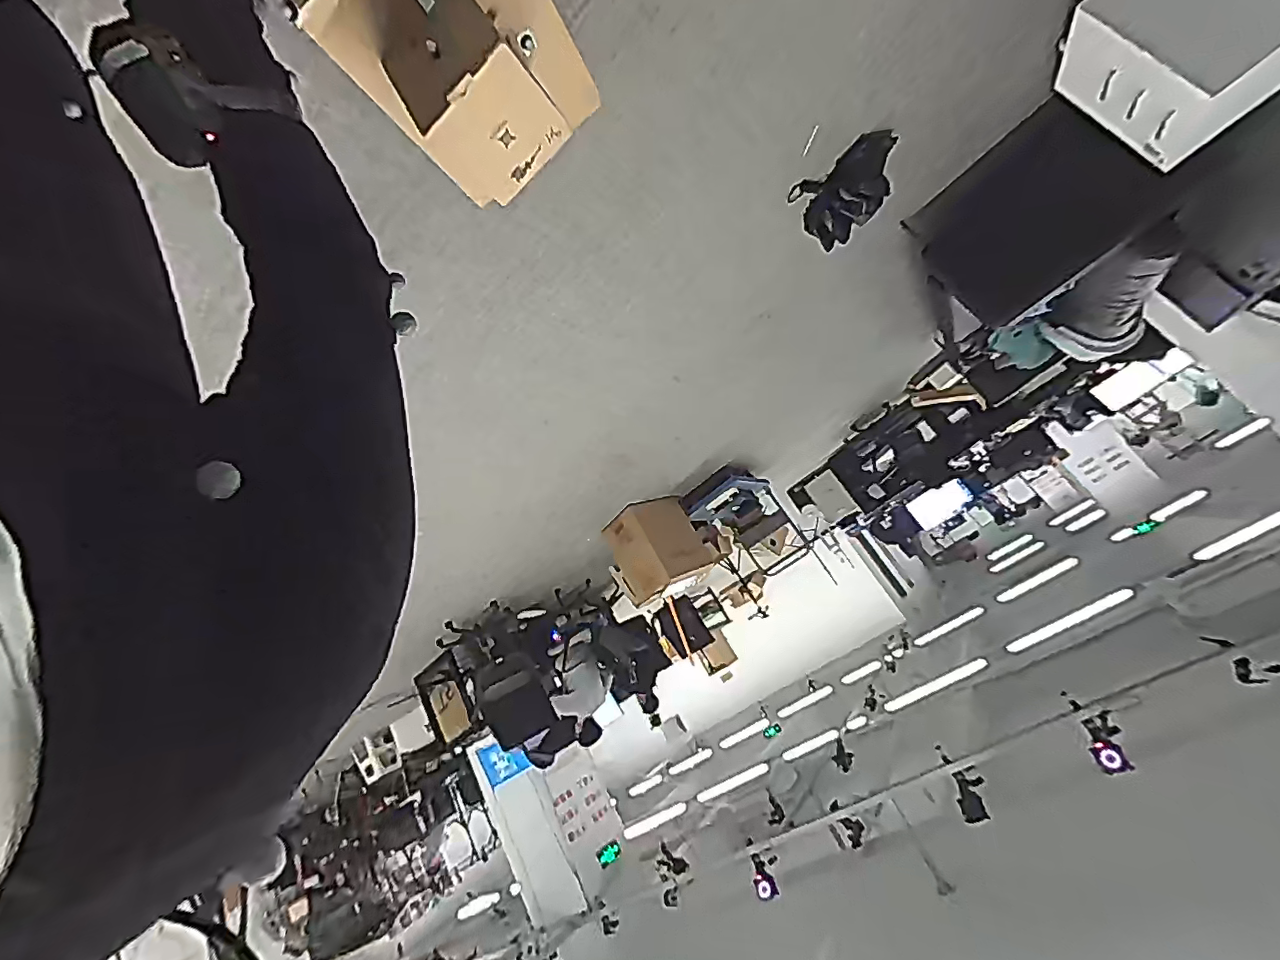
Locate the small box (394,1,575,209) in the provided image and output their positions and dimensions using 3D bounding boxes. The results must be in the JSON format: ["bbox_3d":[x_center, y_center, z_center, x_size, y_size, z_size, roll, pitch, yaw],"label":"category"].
[{"bbox_3d":[-0.237,-0.568,0.822,0.168,0.176,0.179,-37,159,17],"label":"small box"}]
